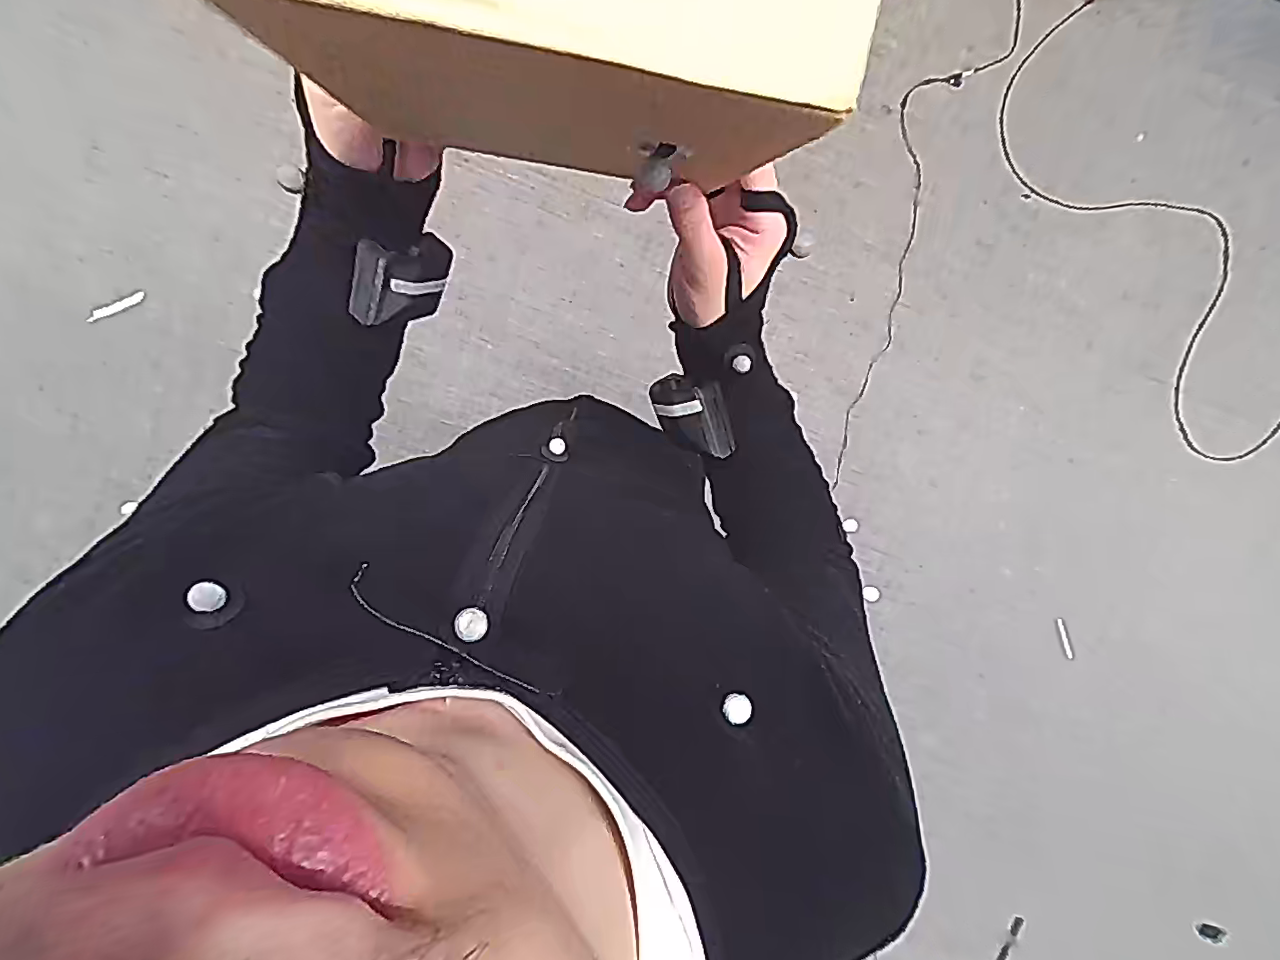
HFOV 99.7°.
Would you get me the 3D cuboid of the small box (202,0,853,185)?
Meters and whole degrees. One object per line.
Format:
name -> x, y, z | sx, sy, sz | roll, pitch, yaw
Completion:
small box -> -0.028, -0.218, 0.198 | 0.179, 0.176, 0.168 | 4, 110, -8
